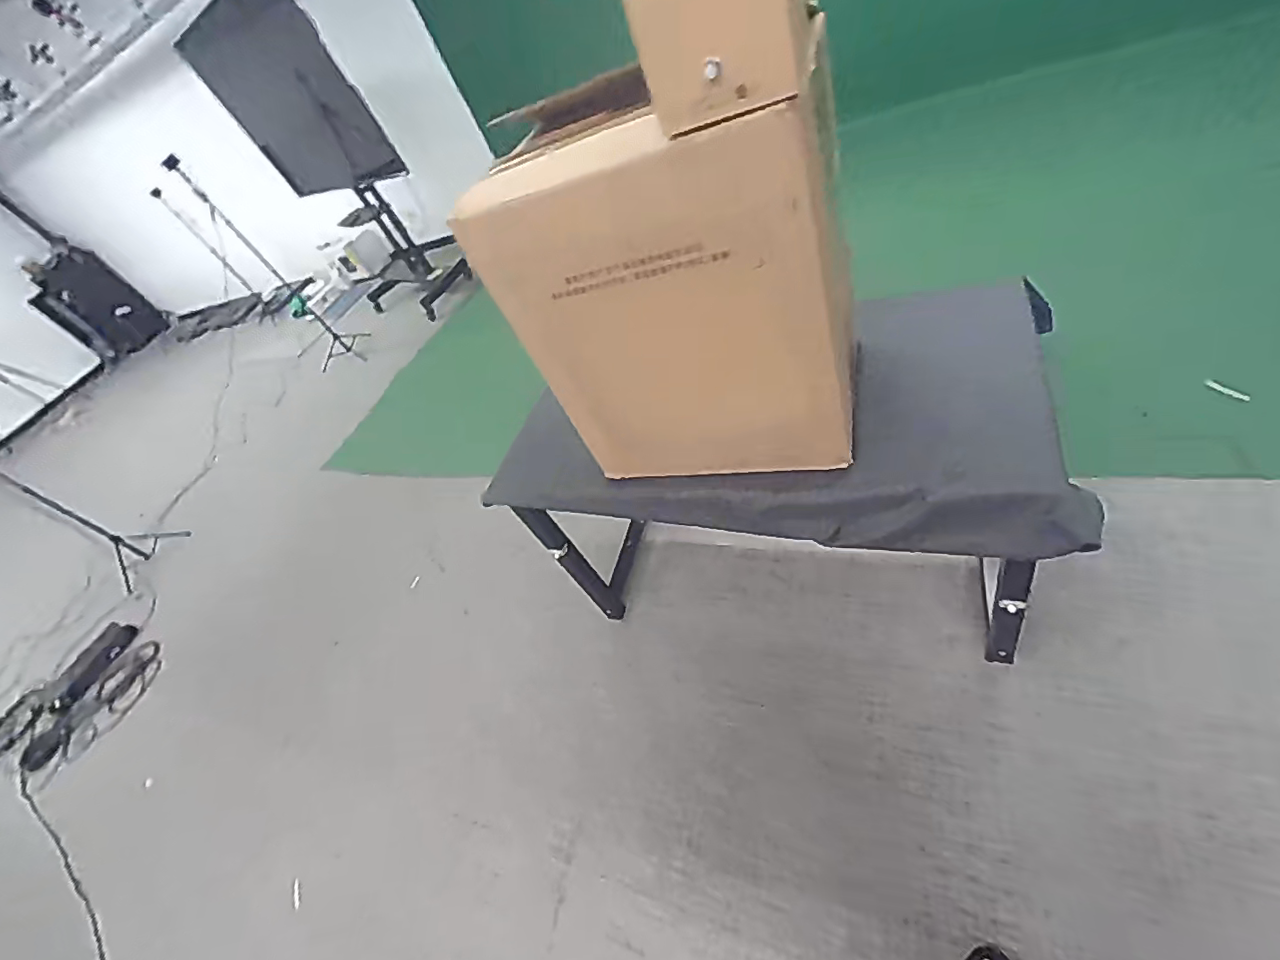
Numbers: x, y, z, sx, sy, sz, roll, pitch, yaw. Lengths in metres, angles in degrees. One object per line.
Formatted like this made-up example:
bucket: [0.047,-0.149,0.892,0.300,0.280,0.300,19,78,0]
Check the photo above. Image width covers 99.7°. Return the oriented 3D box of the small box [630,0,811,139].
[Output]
small box: [0.101,-0.534,0.628,0.168,0.176,0.179,-2,51,25]
